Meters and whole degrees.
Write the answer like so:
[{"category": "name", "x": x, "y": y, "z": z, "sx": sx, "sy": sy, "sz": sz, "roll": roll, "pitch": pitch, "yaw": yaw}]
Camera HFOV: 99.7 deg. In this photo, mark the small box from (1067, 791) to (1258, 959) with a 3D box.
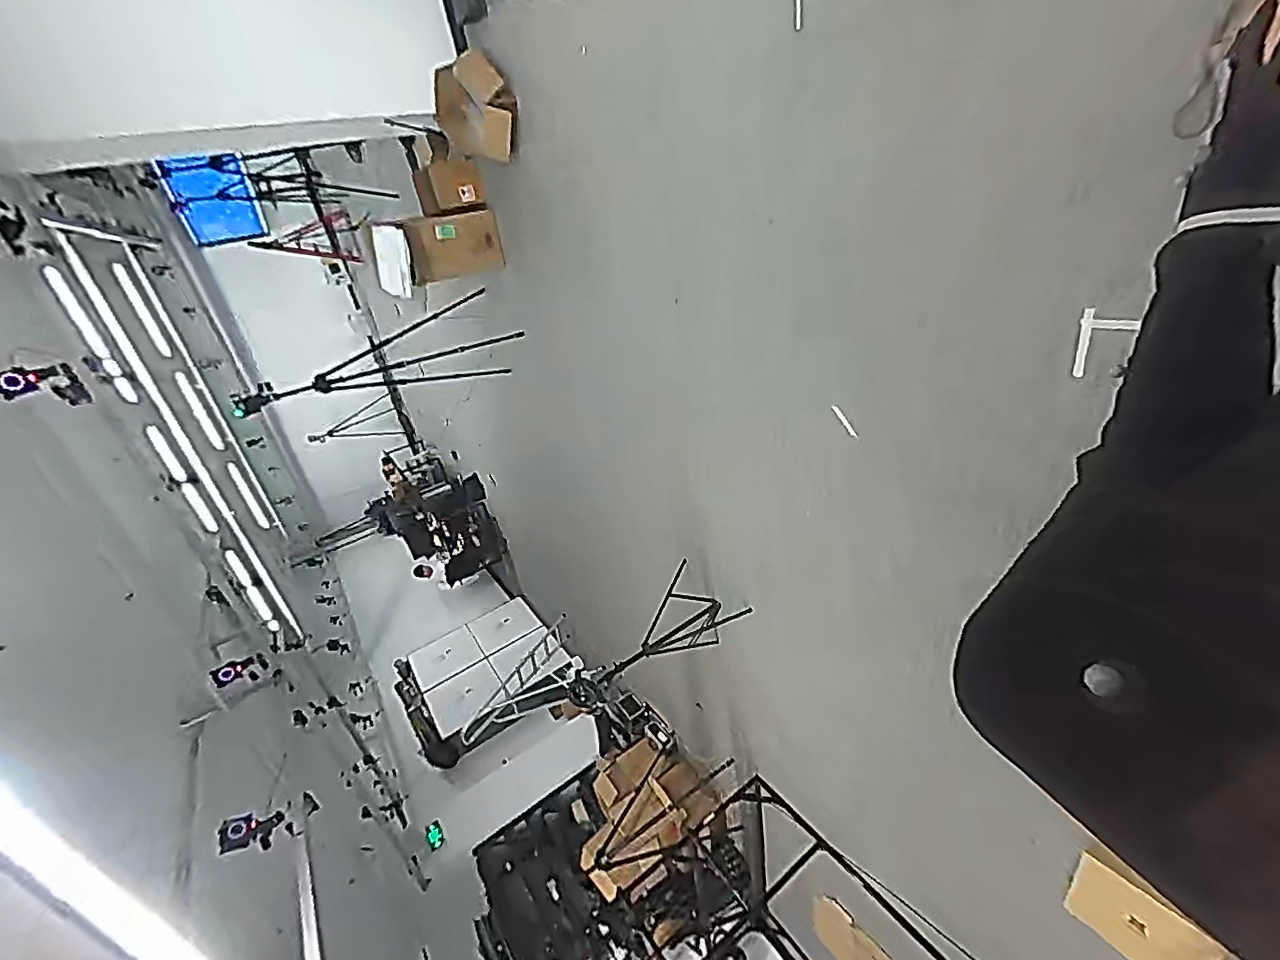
[{"category": "small box", "x": 0.827, "y": 0.648, "z": 0.861, "sx": 0.168, "sy": 0.176, "sz": 0.179, "roll": 27, "pitch": 136, "yaw": 51}]
